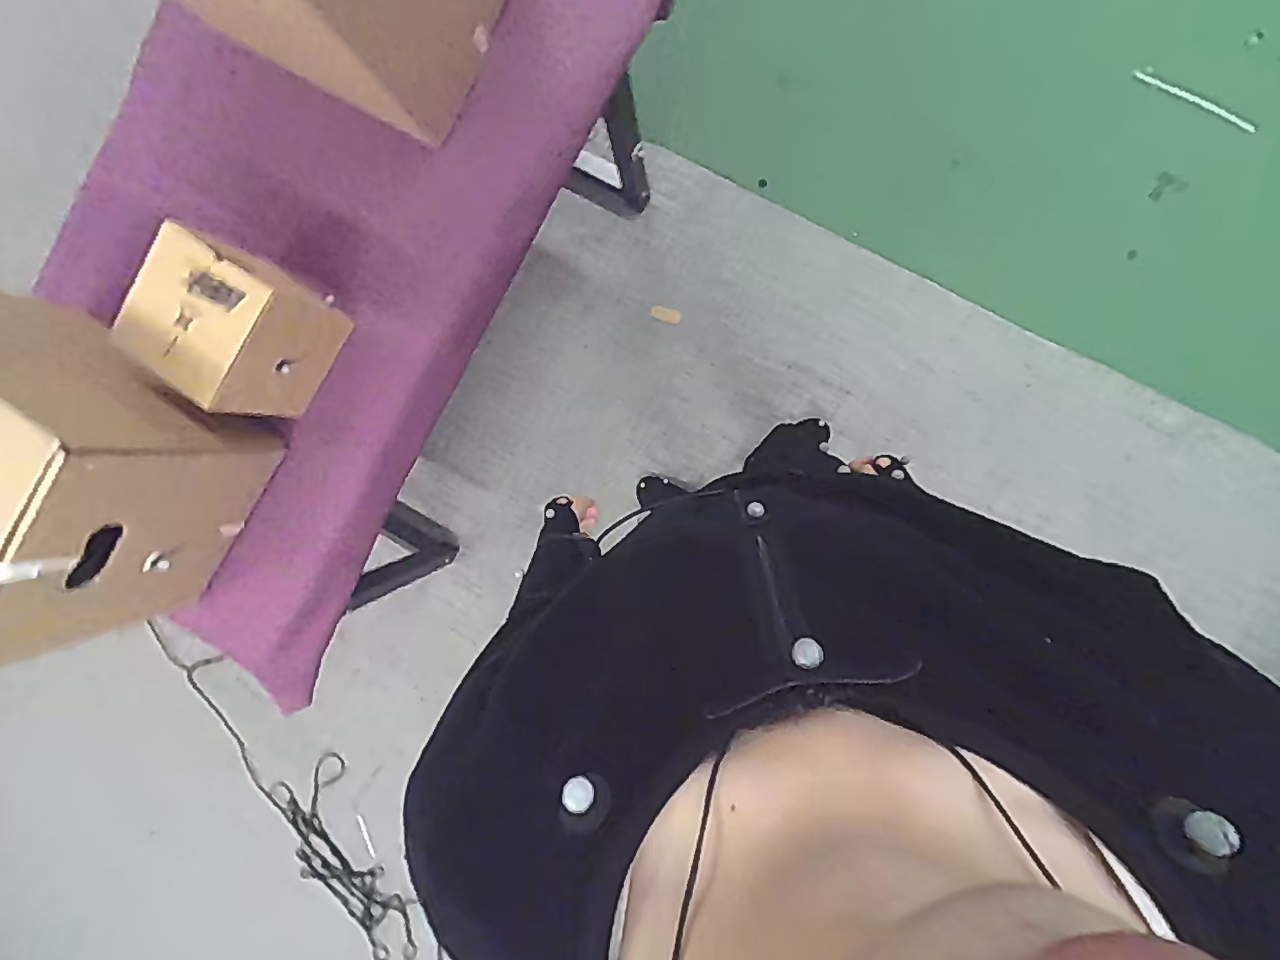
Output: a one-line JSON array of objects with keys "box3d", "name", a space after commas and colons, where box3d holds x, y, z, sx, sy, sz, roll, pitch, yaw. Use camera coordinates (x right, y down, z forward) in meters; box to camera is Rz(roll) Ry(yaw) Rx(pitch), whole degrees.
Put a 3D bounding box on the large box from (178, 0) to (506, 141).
[{"box3d": [-0.409, -0.701, 0.636, 0.408, 0.320, 0.320, 28, 98, 3], "name": "large box"}]
